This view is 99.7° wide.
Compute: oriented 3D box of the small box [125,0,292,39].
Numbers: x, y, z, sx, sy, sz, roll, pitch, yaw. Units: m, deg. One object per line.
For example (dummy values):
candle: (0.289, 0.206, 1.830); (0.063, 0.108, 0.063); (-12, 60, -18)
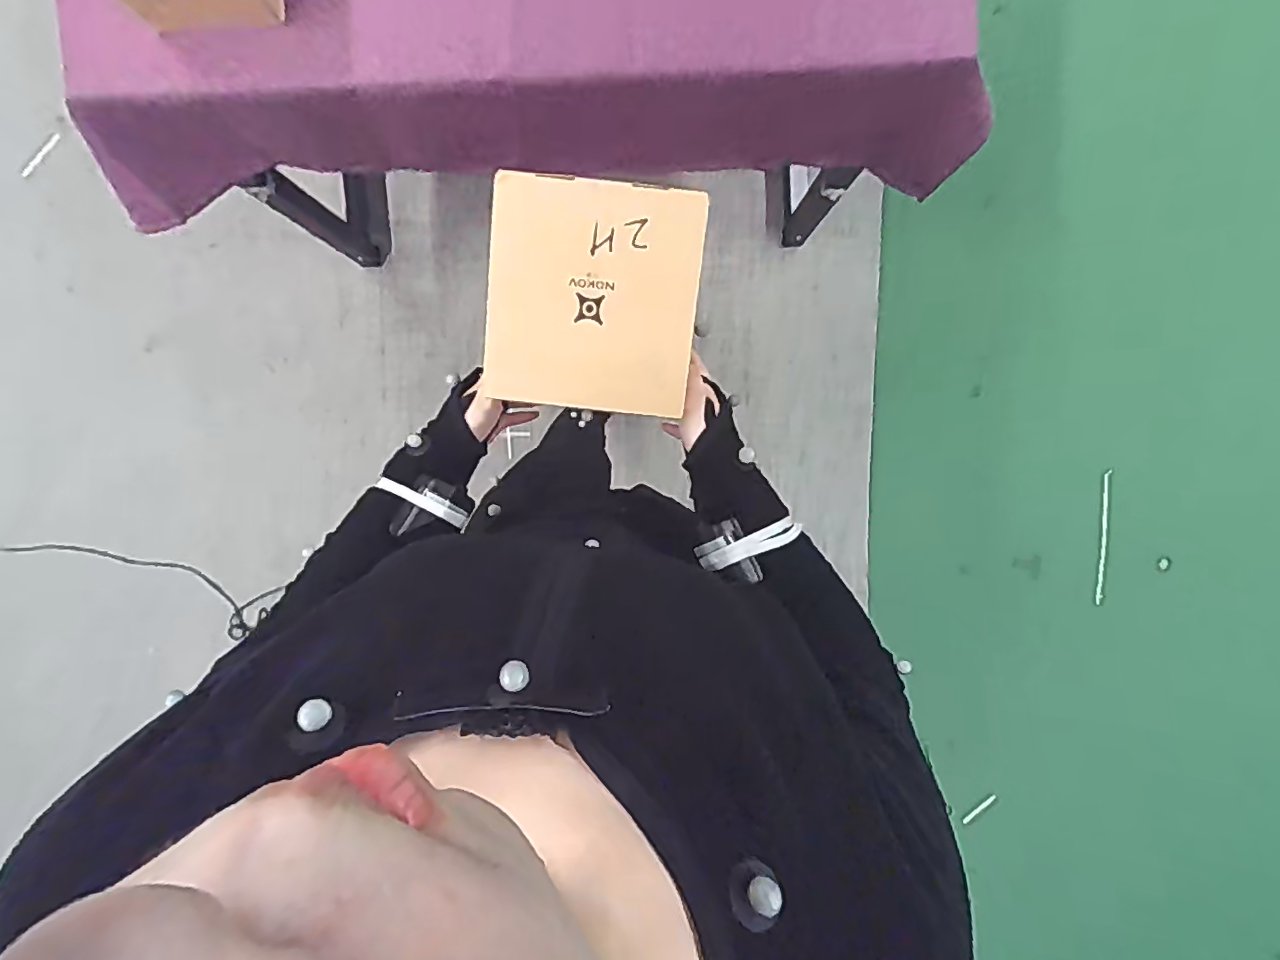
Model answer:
small box: (-0.552, -0.664, 0.636); (0.179, 0.176, 0.168); (-4, 92, -1)

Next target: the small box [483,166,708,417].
small box: (-0.035, -0.159, 0.505); (0.168, 0.176, 0.179); (7, 99, 1)
